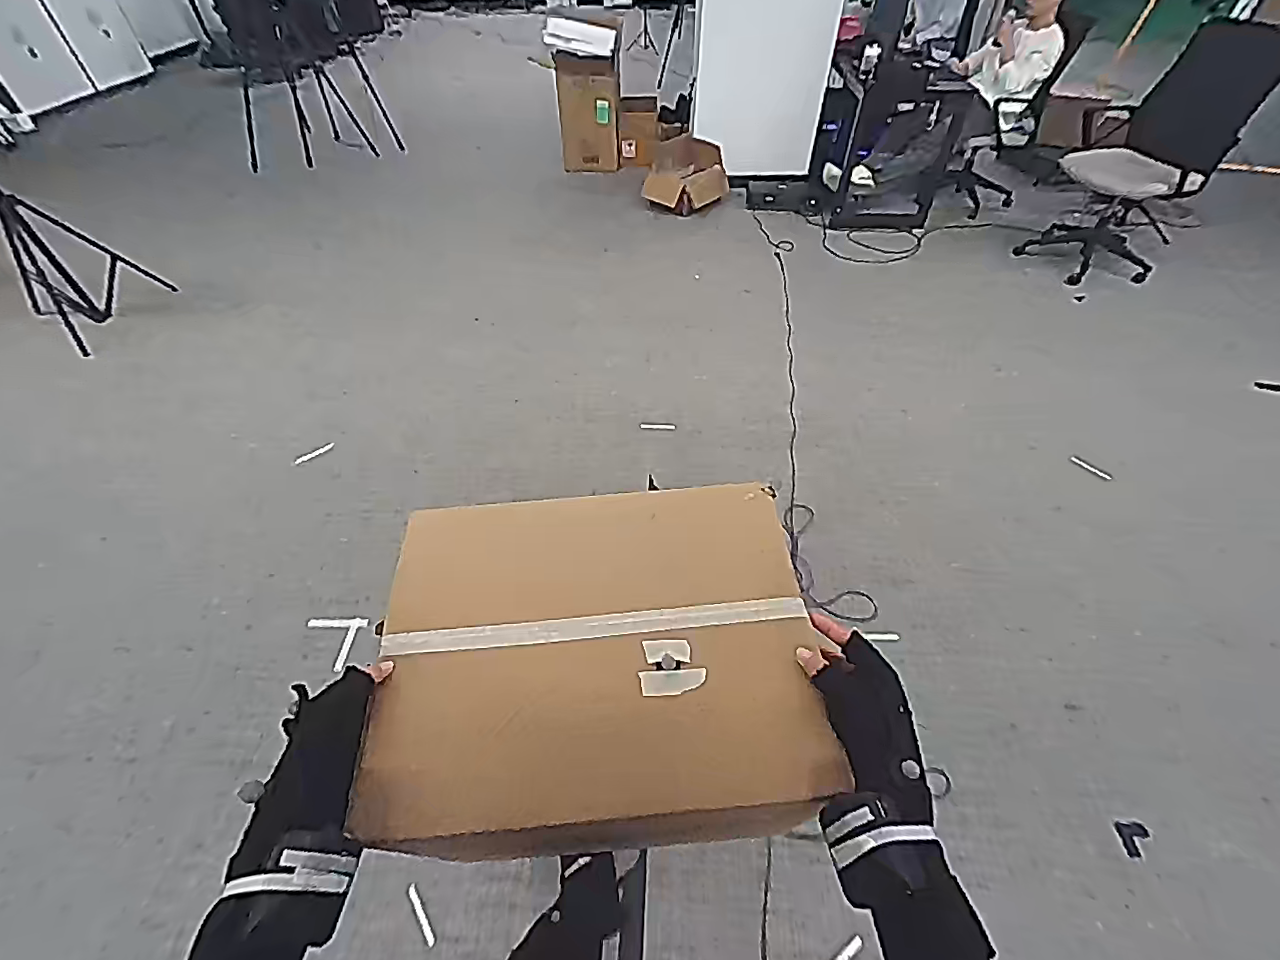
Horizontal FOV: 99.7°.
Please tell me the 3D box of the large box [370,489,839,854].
[{"bbox_3d":[-0.037,0.238,0.656,0.408,0.320,0.320,-4,53,-2],"label":"large box"}]
